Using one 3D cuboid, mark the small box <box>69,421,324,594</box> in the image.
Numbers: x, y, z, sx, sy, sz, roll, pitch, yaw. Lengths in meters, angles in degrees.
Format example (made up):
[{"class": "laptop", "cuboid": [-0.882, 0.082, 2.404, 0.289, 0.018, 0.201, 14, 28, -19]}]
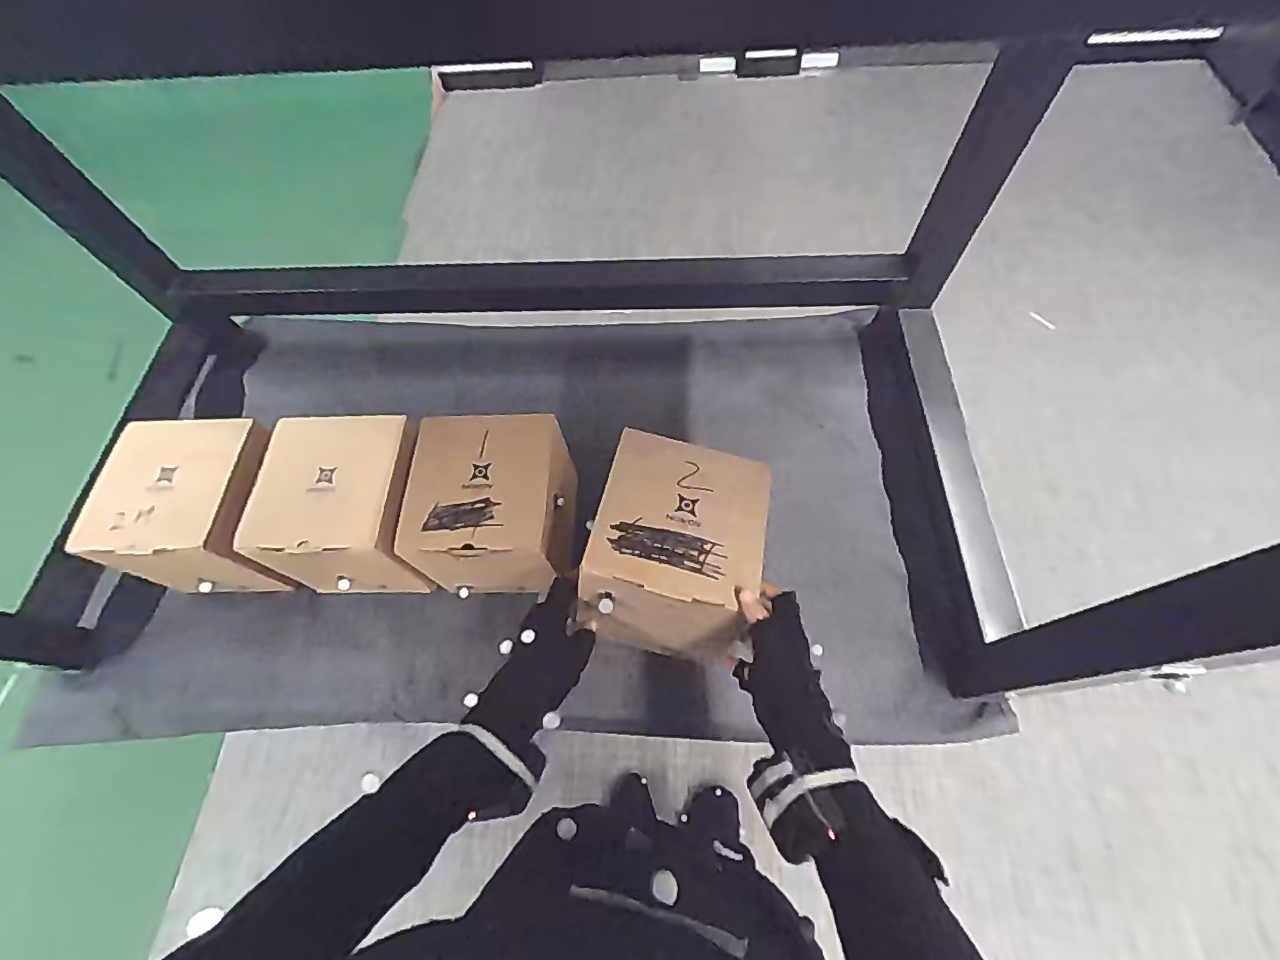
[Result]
[{"class": "small box", "cuboid": [-0.553, 0.040, 0.709, 0.168, 0.176, 0.179, -2, 63, 3]}]
